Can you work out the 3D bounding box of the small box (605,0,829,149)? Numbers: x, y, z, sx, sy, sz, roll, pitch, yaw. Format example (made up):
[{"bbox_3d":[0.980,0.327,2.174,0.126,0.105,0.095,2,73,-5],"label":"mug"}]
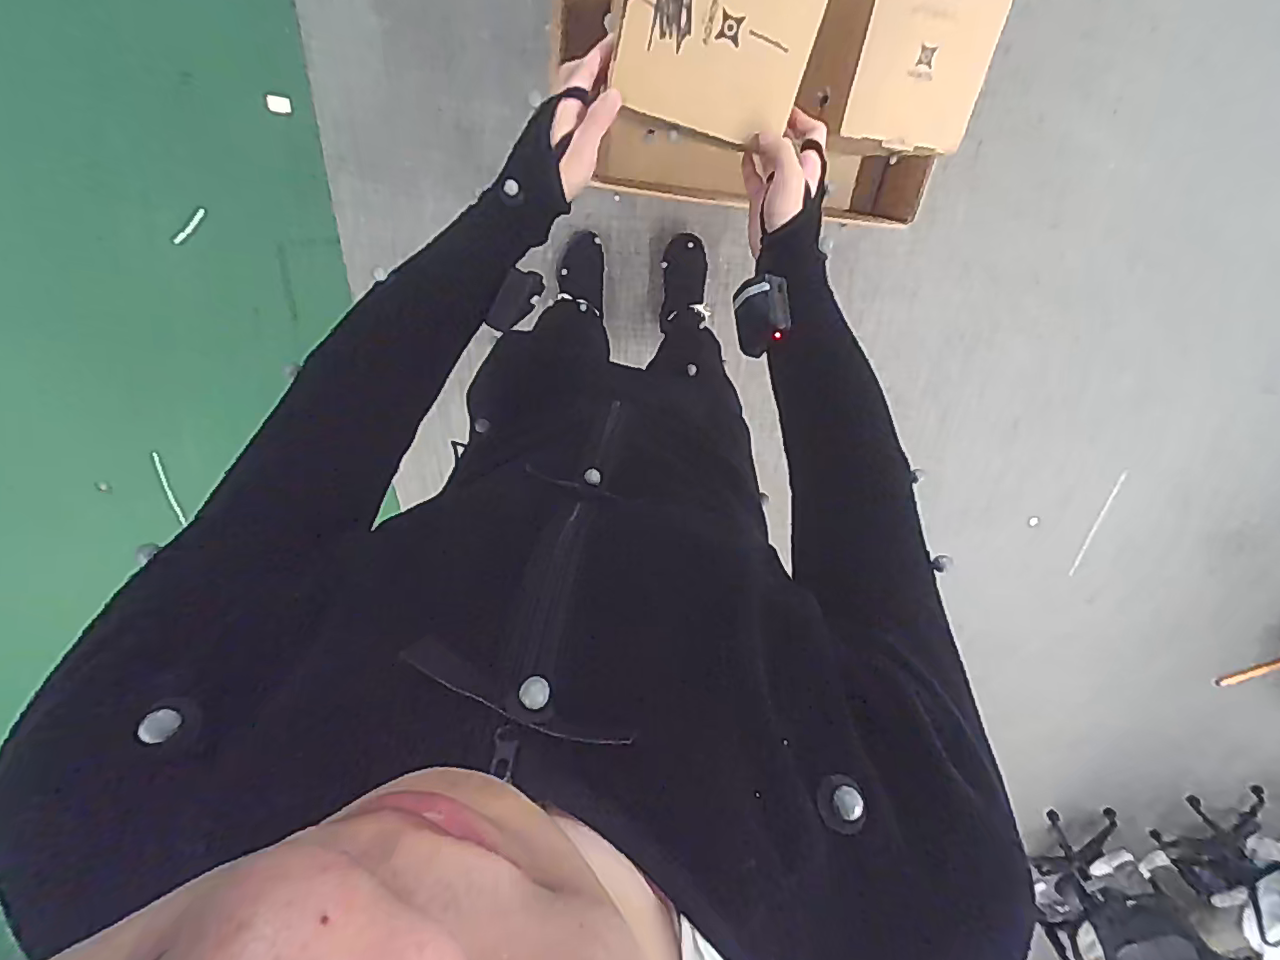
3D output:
[{"bbox_3d":[0.066,-0.447,0.541,0.179,0.176,0.168,10,121,-13],"label":"small box"}]

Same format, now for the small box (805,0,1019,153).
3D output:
[{"bbox_3d":[0.334,-0.538,0.702,0.168,0.176,0.179,4,120,-9],"label":"small box"}]
